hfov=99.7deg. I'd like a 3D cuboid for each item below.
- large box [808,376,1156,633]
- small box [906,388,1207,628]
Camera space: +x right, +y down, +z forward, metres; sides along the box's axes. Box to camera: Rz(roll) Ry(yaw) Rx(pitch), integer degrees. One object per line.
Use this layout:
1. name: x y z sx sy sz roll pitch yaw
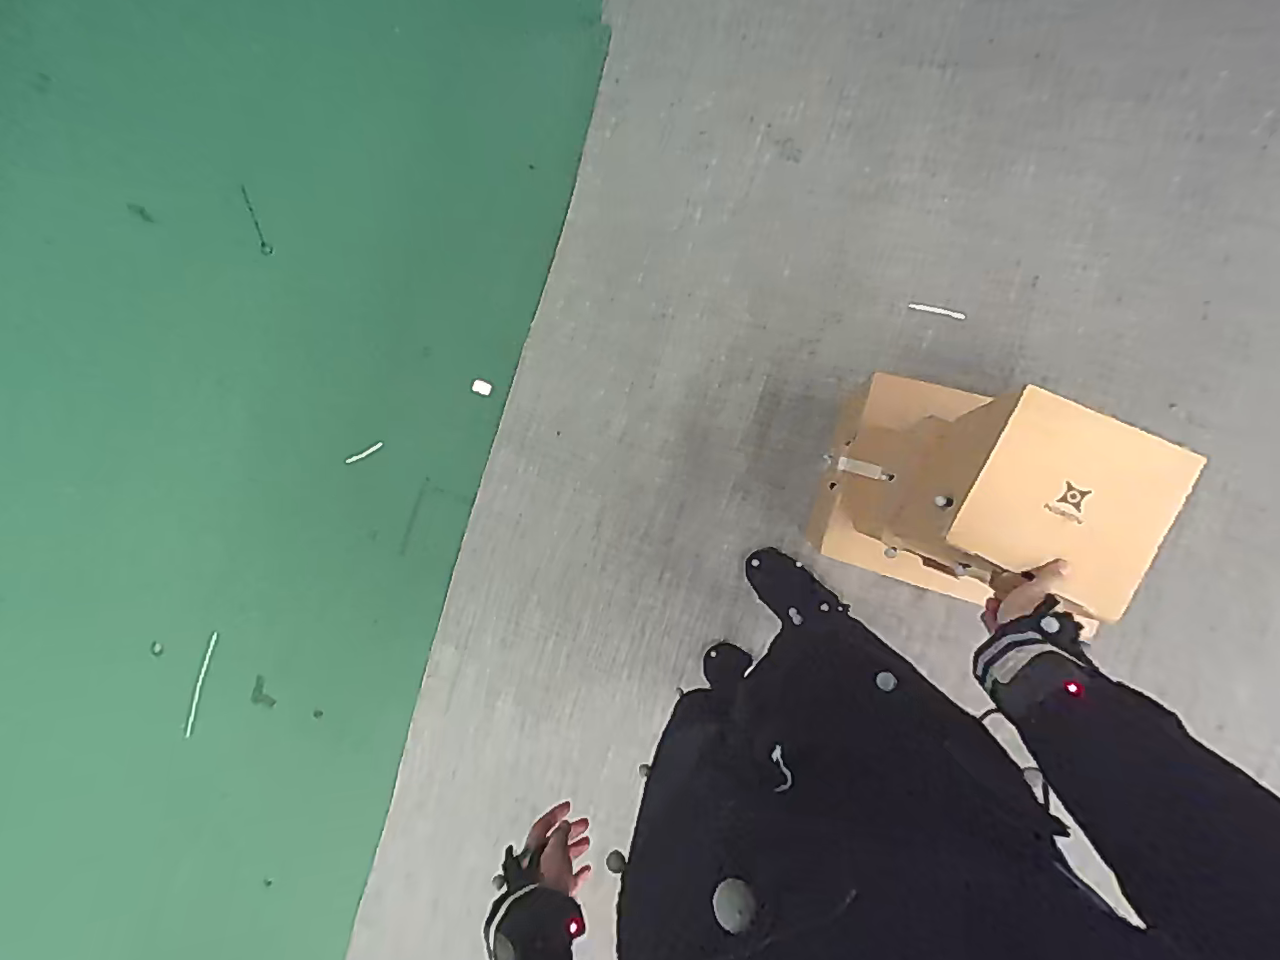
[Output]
1. large box: 0.555 0.032 0.976 0.408 0.320 0.320 17 94 11
2. small box: 0.420 0.028 0.585 0.168 0.176 0.179 28 91 11
